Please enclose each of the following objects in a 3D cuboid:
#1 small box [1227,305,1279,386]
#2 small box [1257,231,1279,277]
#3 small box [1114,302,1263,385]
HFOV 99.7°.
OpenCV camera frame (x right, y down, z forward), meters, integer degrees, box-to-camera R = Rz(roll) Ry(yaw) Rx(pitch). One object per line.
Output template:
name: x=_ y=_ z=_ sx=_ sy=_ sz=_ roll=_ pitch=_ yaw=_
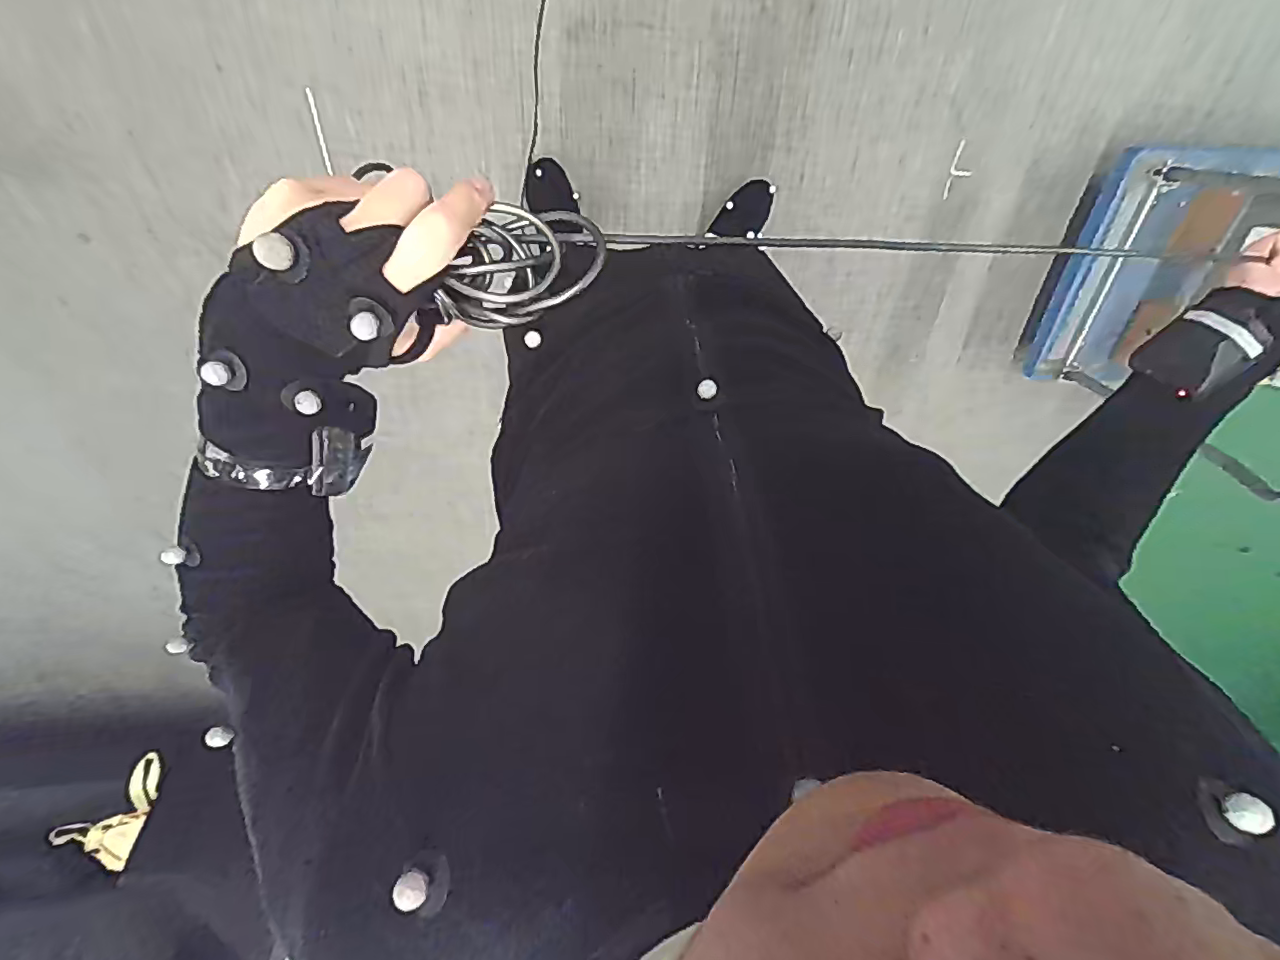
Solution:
small box: x=1.701 y=-0.366 z=1.452 sx=0.179 sy=0.176 sz=0.168 roll=-3 pitch=124 yaw=-3
small box: x=1.694 y=-0.573 z=1.310 sx=0.179 sy=0.176 sz=0.168 roll=-4 pitch=125 yaw=-4
small box: x=1.432 y=-0.363 z=1.426 sx=0.179 sy=0.176 sz=0.168 roll=0 pitch=124 yaw=-6
